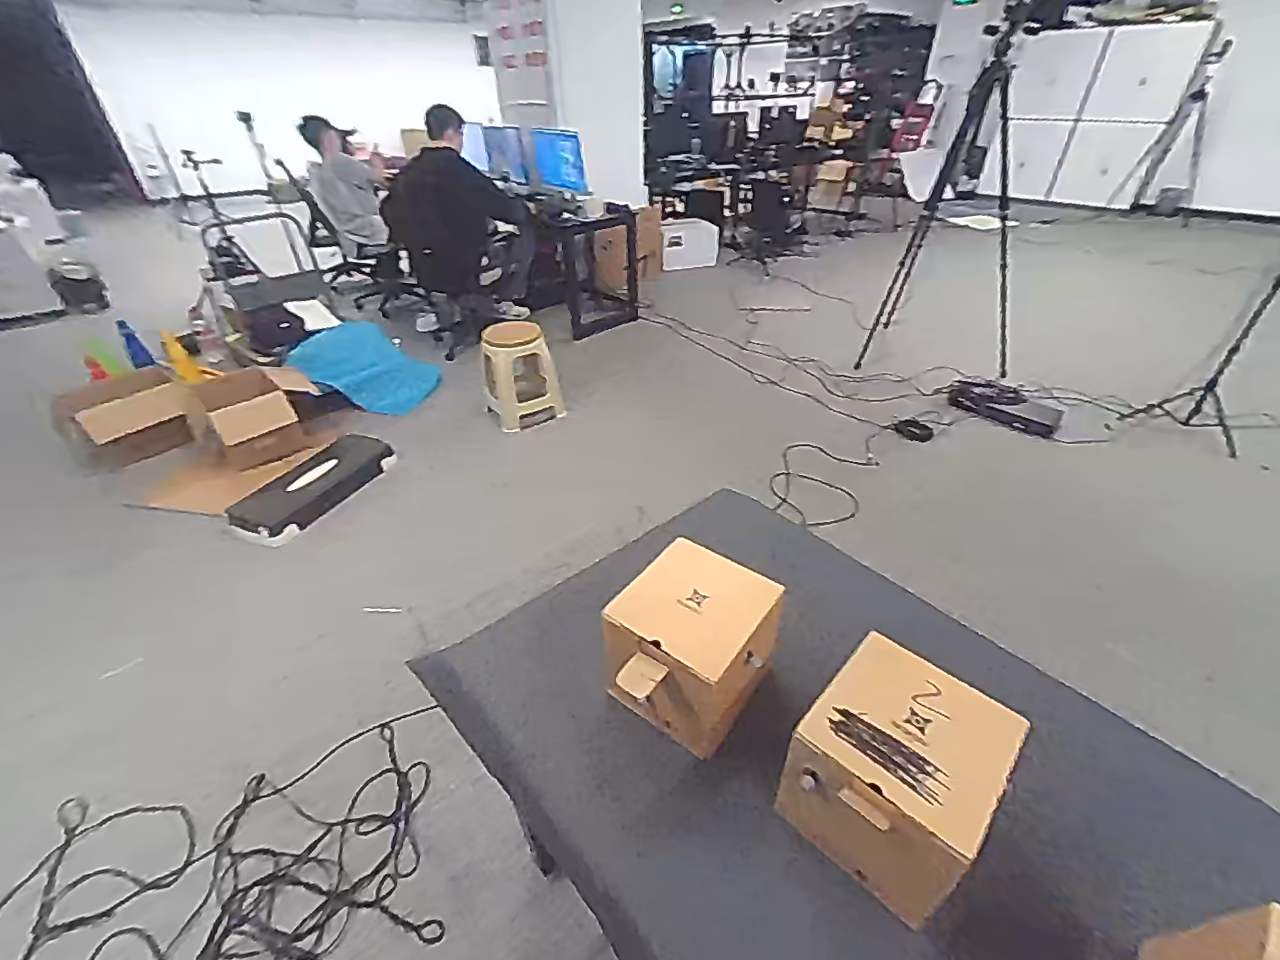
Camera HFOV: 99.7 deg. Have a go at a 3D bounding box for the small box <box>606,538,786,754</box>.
[{"bbox_3d":[0.072,0.215,0.720,0.168,0.176,0.179,24,43,30],"label":"small box"}]
